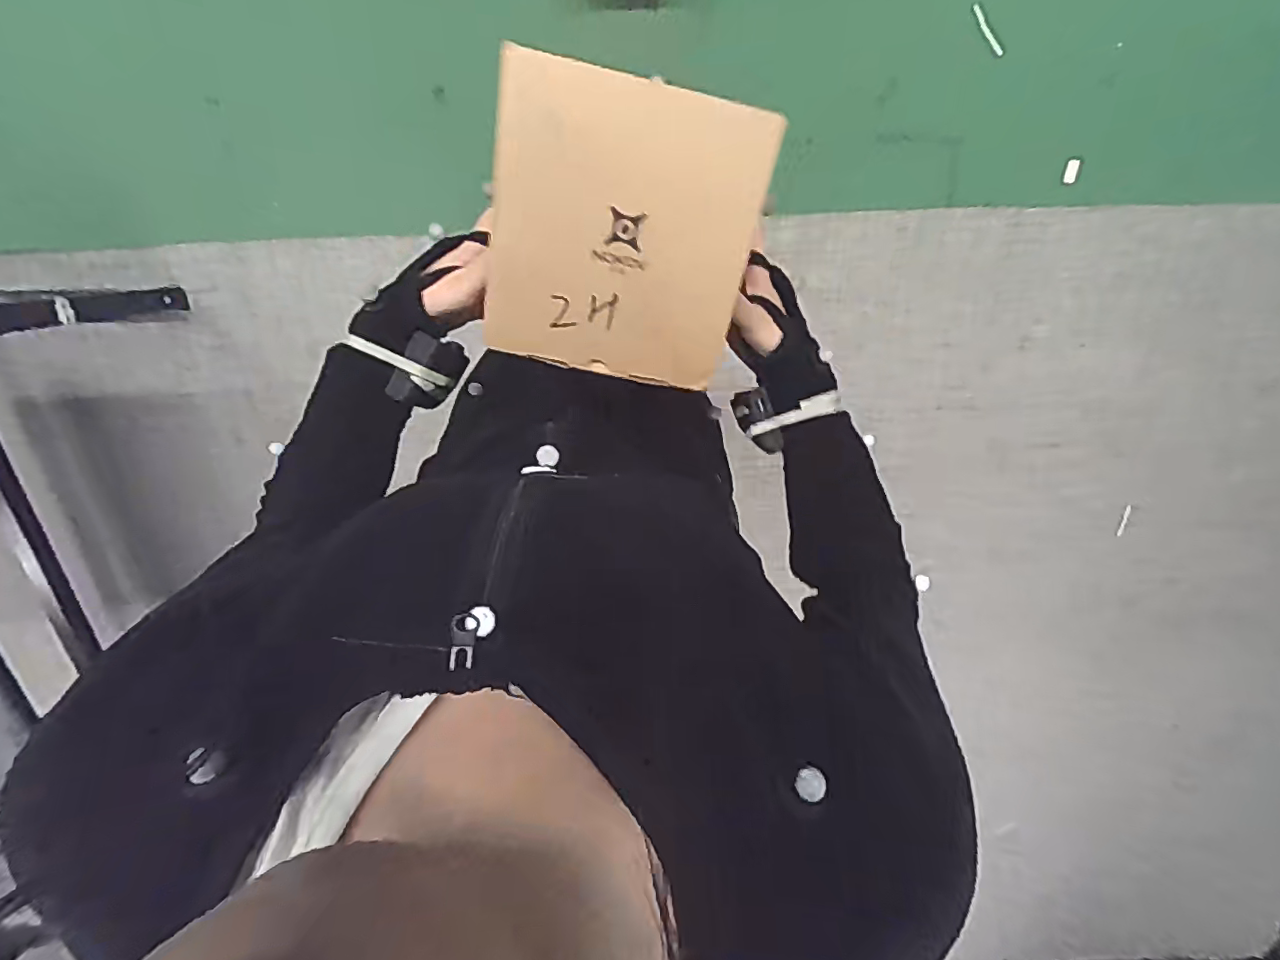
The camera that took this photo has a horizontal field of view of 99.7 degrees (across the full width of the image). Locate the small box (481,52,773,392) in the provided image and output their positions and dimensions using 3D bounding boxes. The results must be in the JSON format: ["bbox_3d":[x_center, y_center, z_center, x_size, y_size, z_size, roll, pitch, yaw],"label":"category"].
[{"bbox_3d":[-0.017,-0.190,0.422,0.168,0.176,0.179,10,117,-6],"label":"small box"}]
